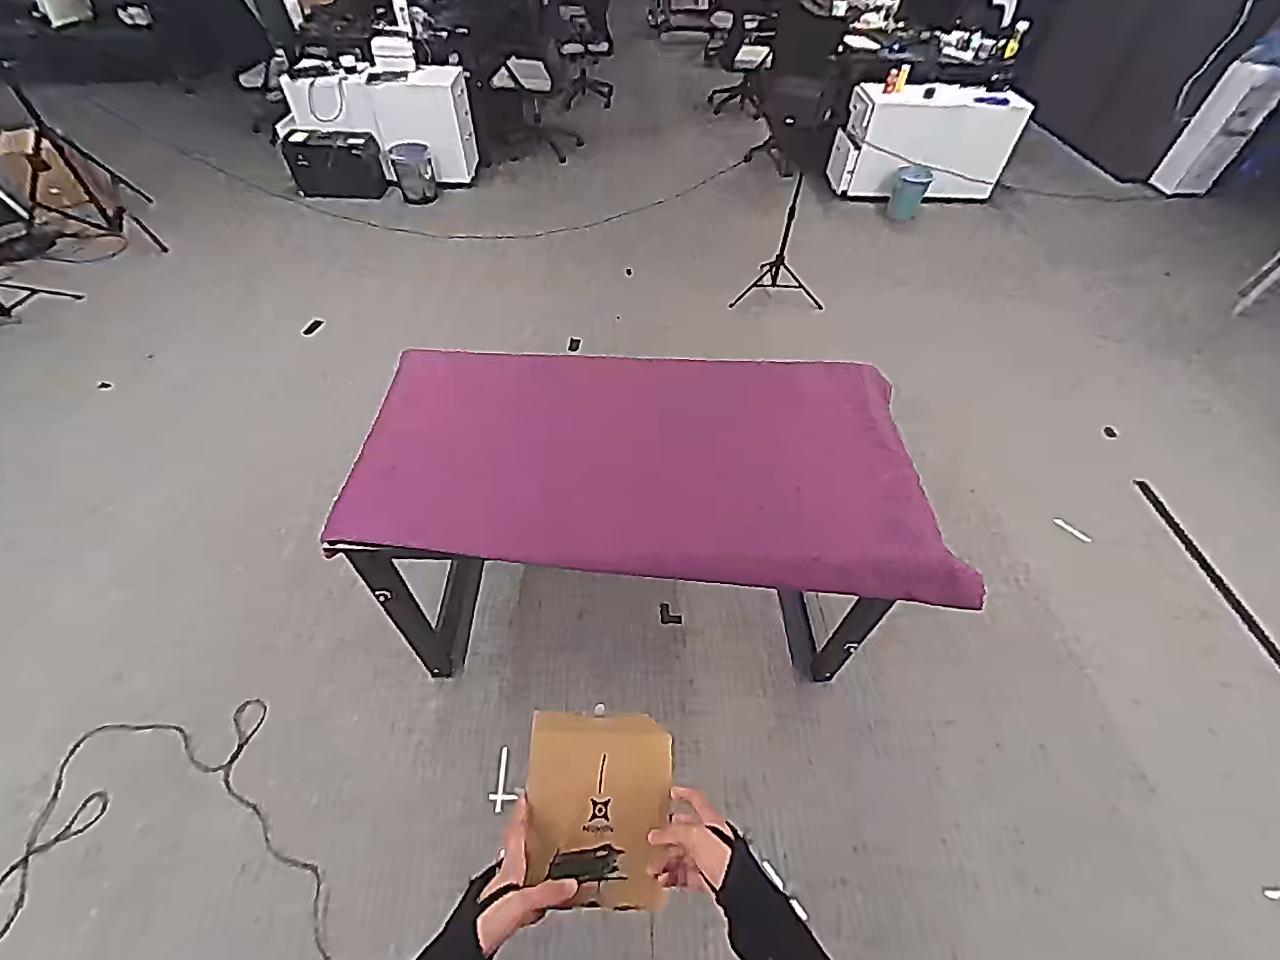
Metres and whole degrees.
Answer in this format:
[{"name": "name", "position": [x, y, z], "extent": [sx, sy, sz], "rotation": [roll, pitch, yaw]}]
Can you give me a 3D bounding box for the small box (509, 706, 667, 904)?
[{"name": "small box", "position": [-0.066, 0.396, 0.684], "extent": [0.168, 0.176, 0.179], "rotation": [6, 74, -8]}]
